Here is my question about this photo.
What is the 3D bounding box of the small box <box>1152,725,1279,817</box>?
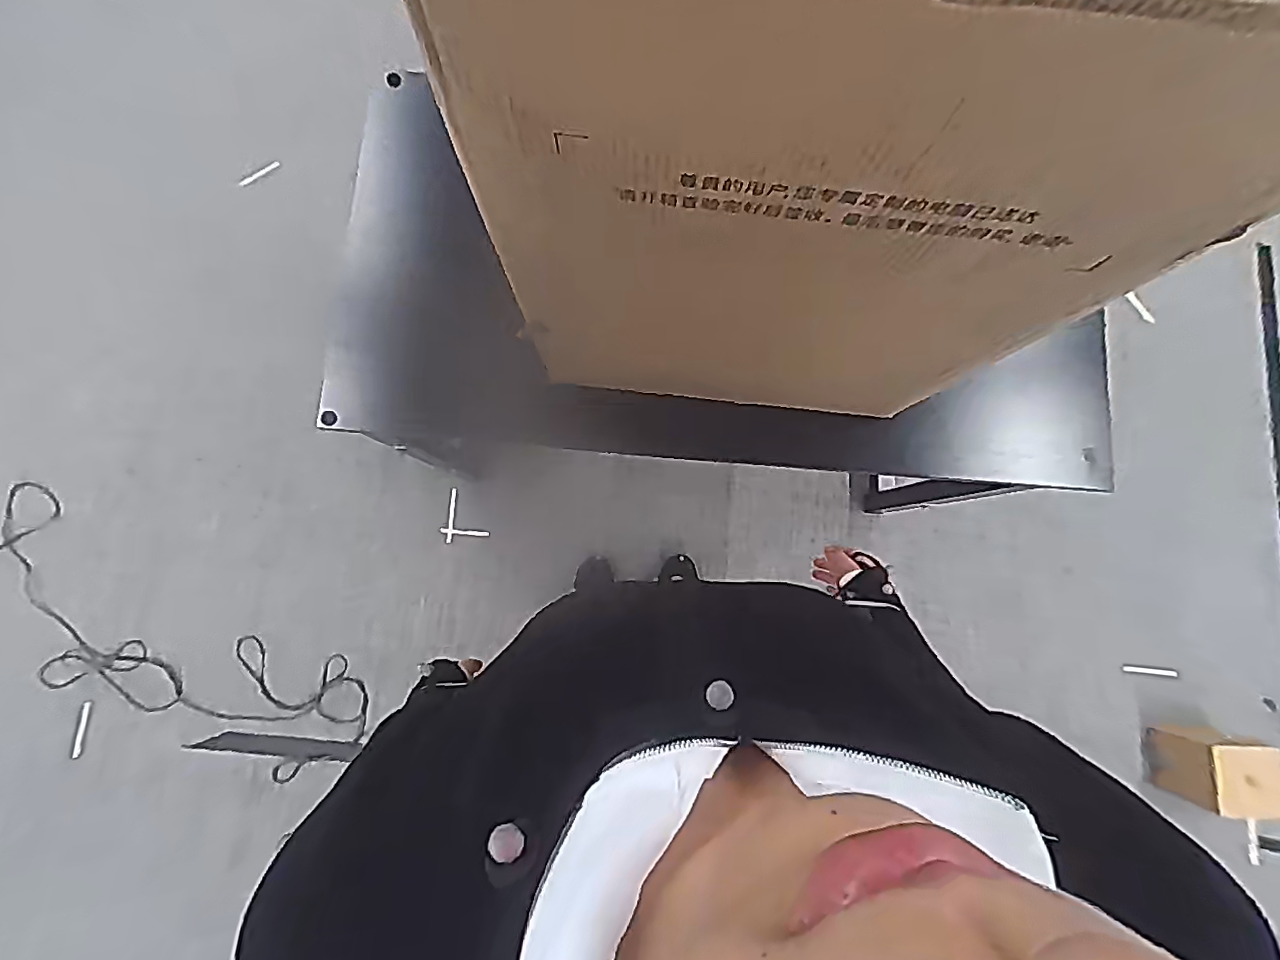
[{"bbox_3d":[1.493,0.745,1.399,0.179,0.176,0.168,1,81,0],"label":"small box"}]
